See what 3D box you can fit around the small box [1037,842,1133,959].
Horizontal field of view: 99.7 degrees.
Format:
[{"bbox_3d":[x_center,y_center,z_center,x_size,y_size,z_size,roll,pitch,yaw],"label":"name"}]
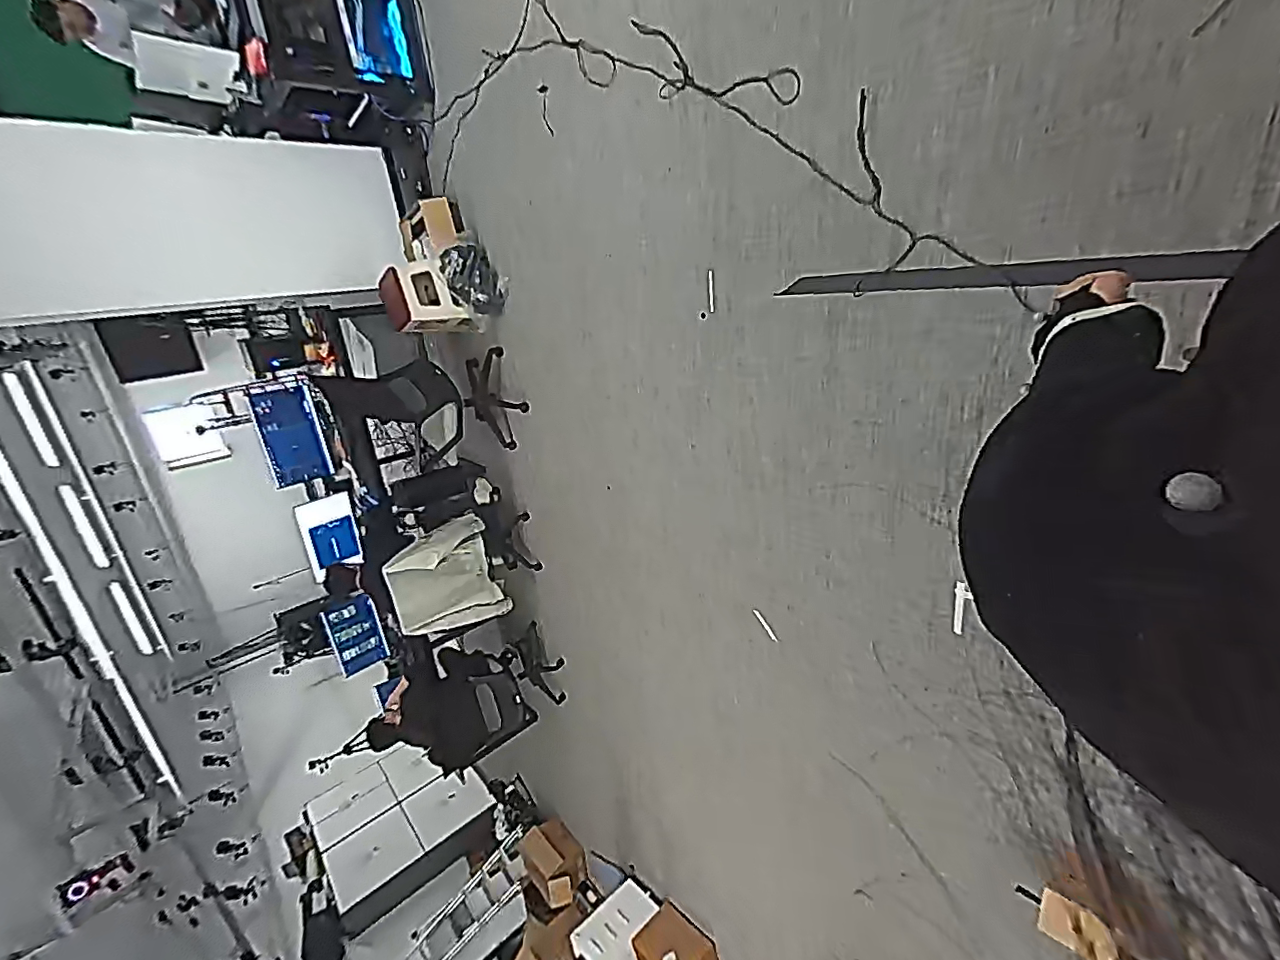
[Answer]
[{"bbox_3d":[1.225,1.155,1.488,0.168,0.176,0.179,14,120,48],"label":"small box"}]
